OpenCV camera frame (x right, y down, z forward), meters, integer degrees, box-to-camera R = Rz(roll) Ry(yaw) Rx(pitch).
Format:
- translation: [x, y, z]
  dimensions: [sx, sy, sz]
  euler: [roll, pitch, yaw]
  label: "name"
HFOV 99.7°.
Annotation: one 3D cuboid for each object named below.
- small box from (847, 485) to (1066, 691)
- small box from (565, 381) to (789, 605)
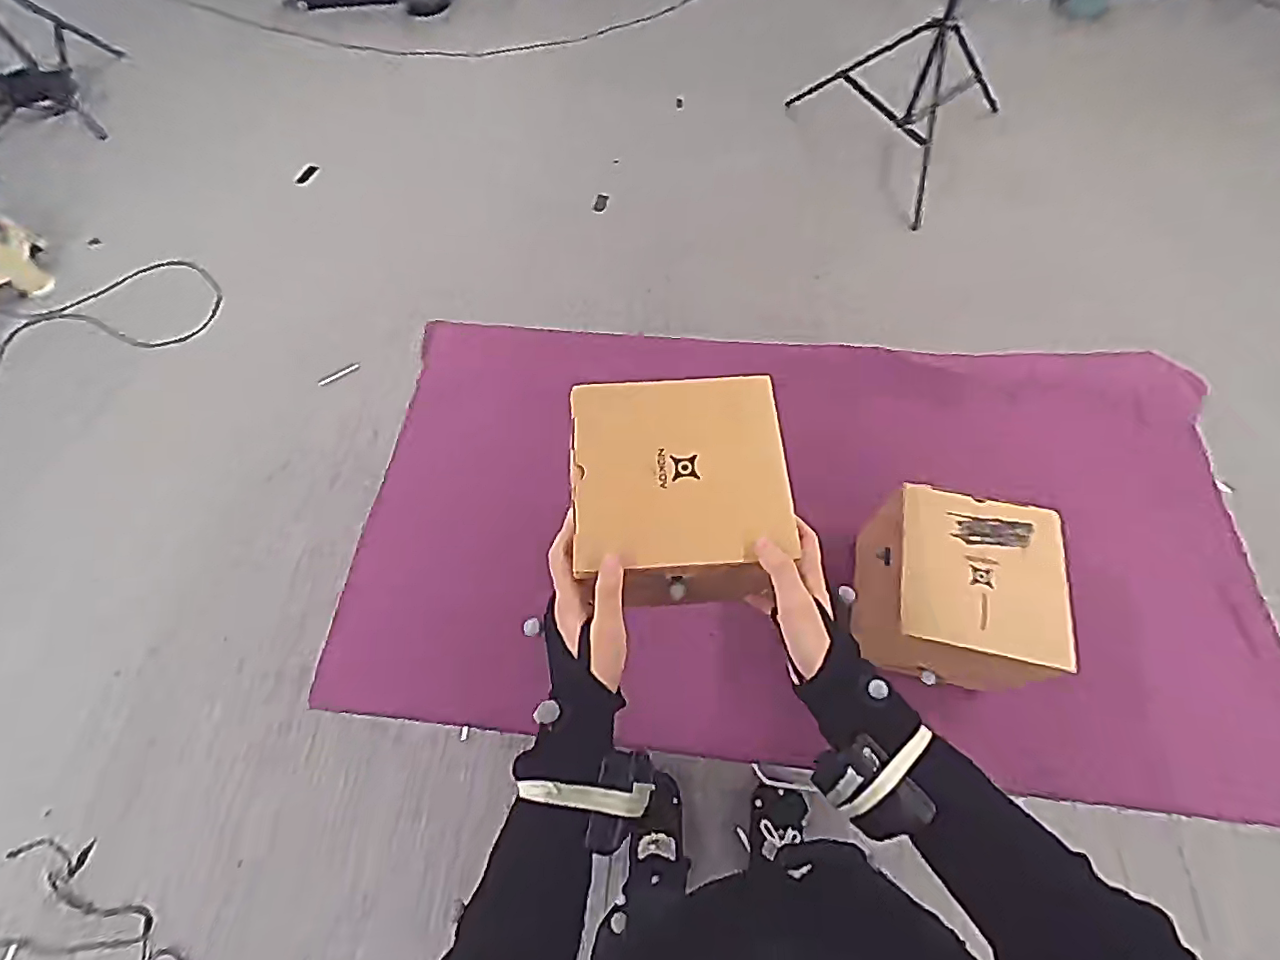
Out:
- translation: [0.357, 0.134, 0.640]
  dimensions: [0.168, 0.176, 0.179]
  euler: [12, 65, 9]
  label: "small box"
- translation: [0.025, 0.022, 0.516]
  dimensions: [0.179, 0.176, 0.168]
  euler: [-3, 68, -1]
  label: "small box"
